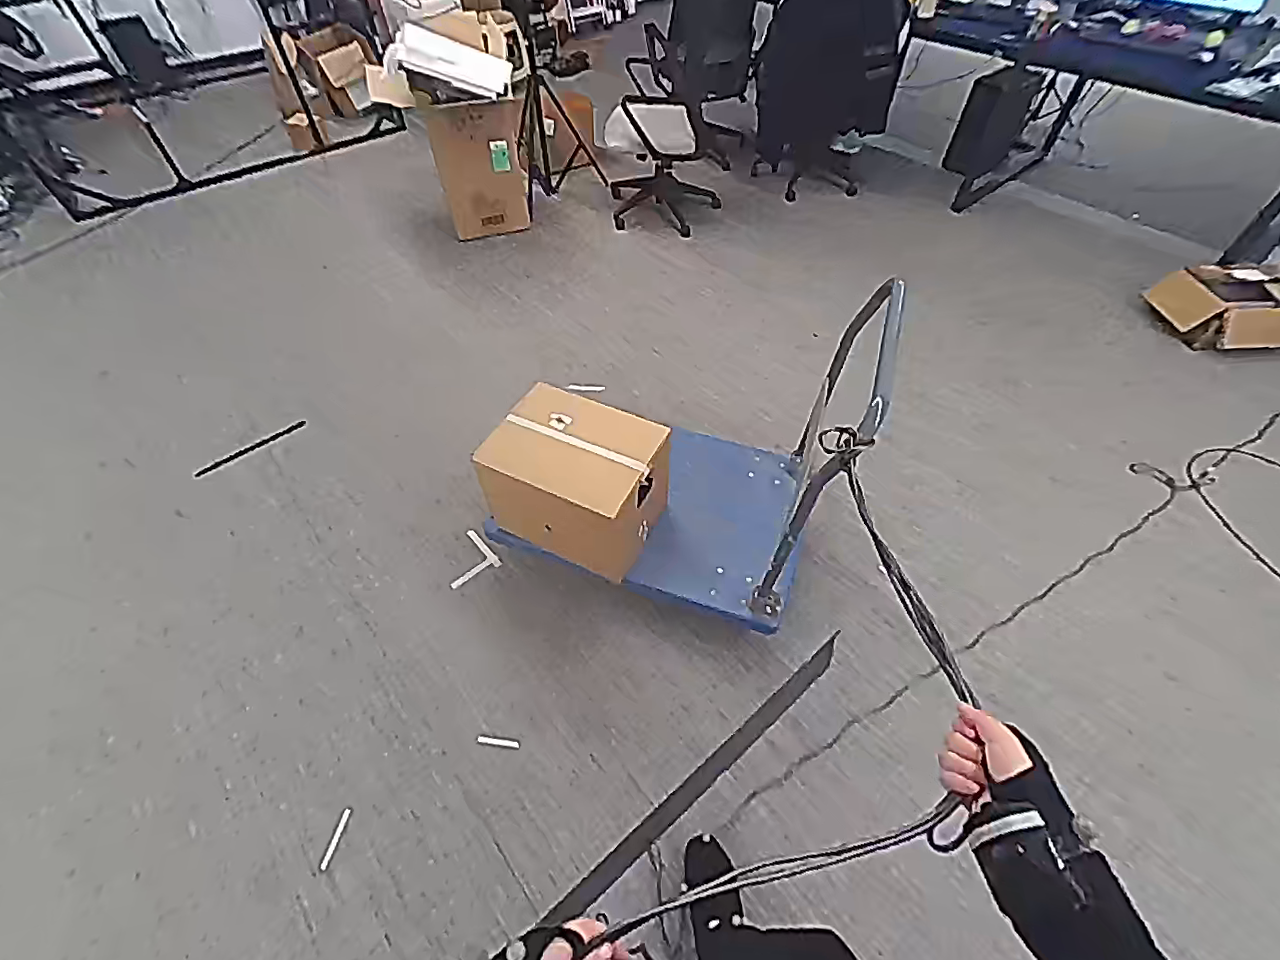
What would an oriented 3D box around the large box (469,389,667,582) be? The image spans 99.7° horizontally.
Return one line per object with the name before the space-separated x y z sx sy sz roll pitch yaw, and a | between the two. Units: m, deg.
large box | -0.167 0.013 1.448 0.408 0.320 0.320 20 54 17
